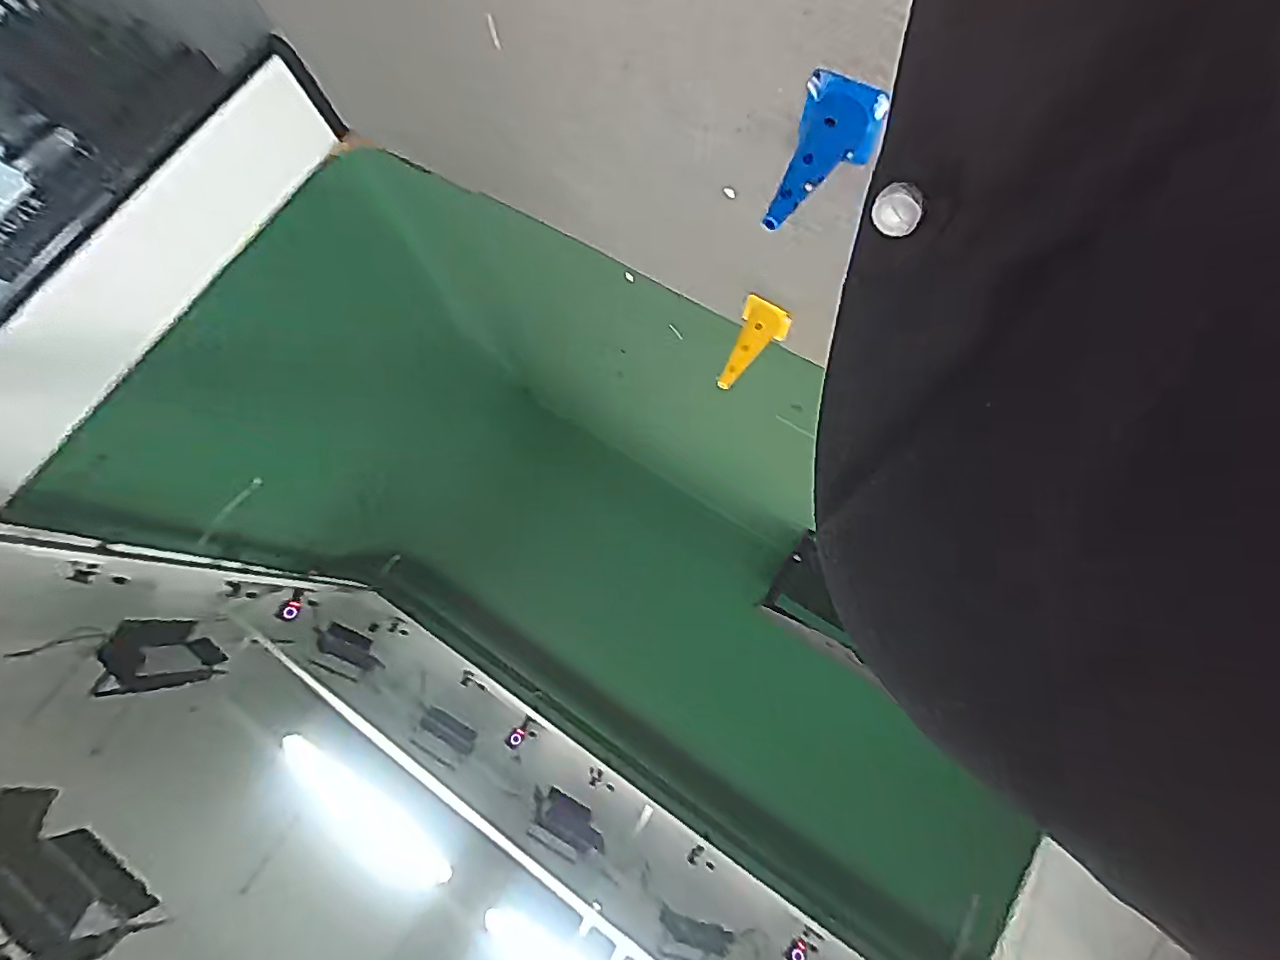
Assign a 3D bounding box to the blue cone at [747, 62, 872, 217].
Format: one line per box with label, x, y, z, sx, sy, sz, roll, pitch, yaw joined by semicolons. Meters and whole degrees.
blue cone;0.377;-0.777;1.300;0.192;0.380;0.193;32;169;11
